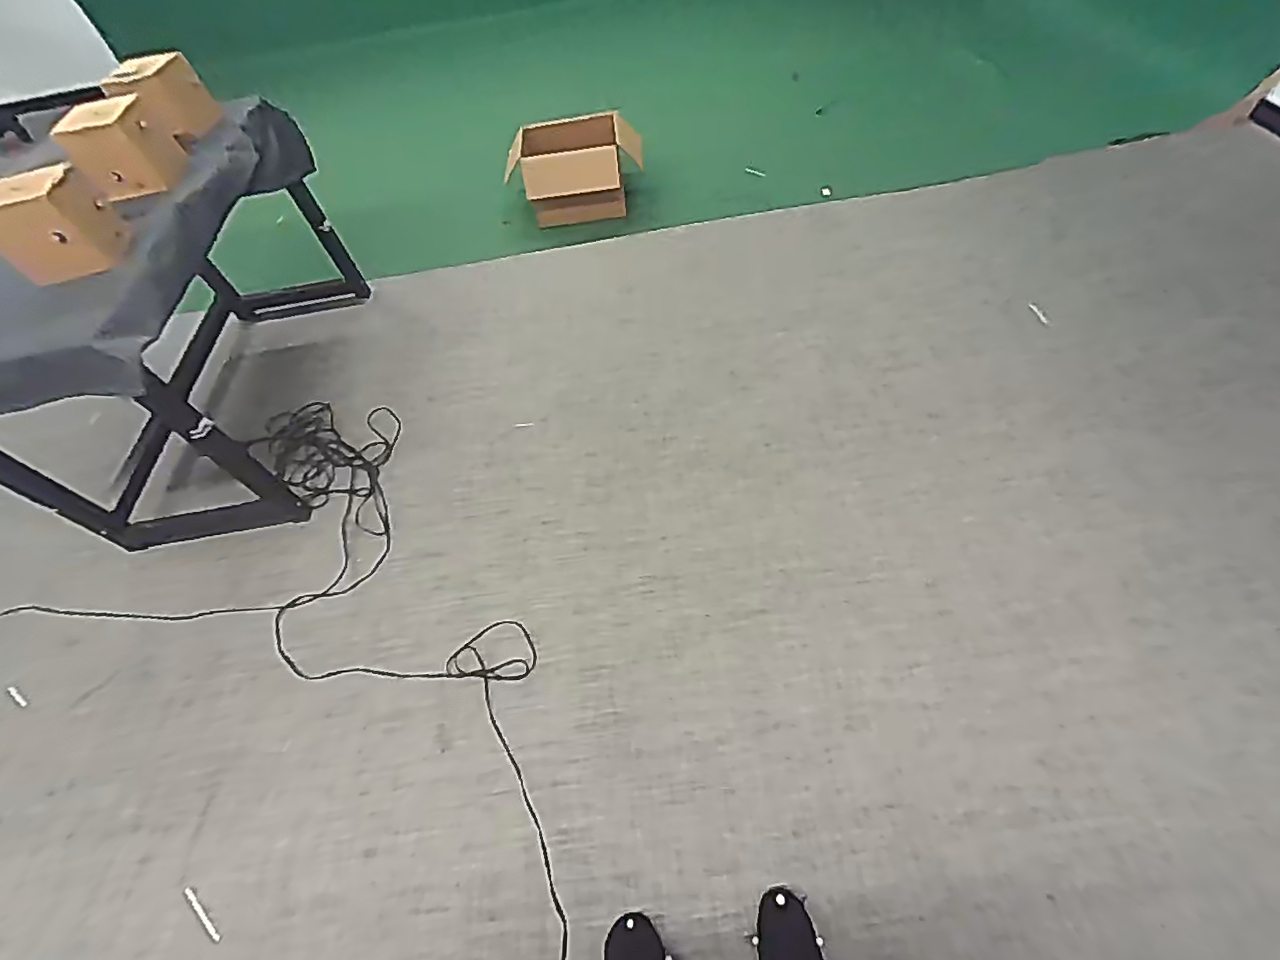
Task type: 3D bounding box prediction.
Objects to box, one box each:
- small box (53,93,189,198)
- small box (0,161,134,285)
[{"bbox_3d":[-1.338,-0.870,1.413,0.168,0.176,0.179,-11,56,0],"label":"small box"},{"bbox_3d":[-1.292,-0.566,1.198,0.179,0.176,0.168,-19,54,-4],"label":"small box"}]
